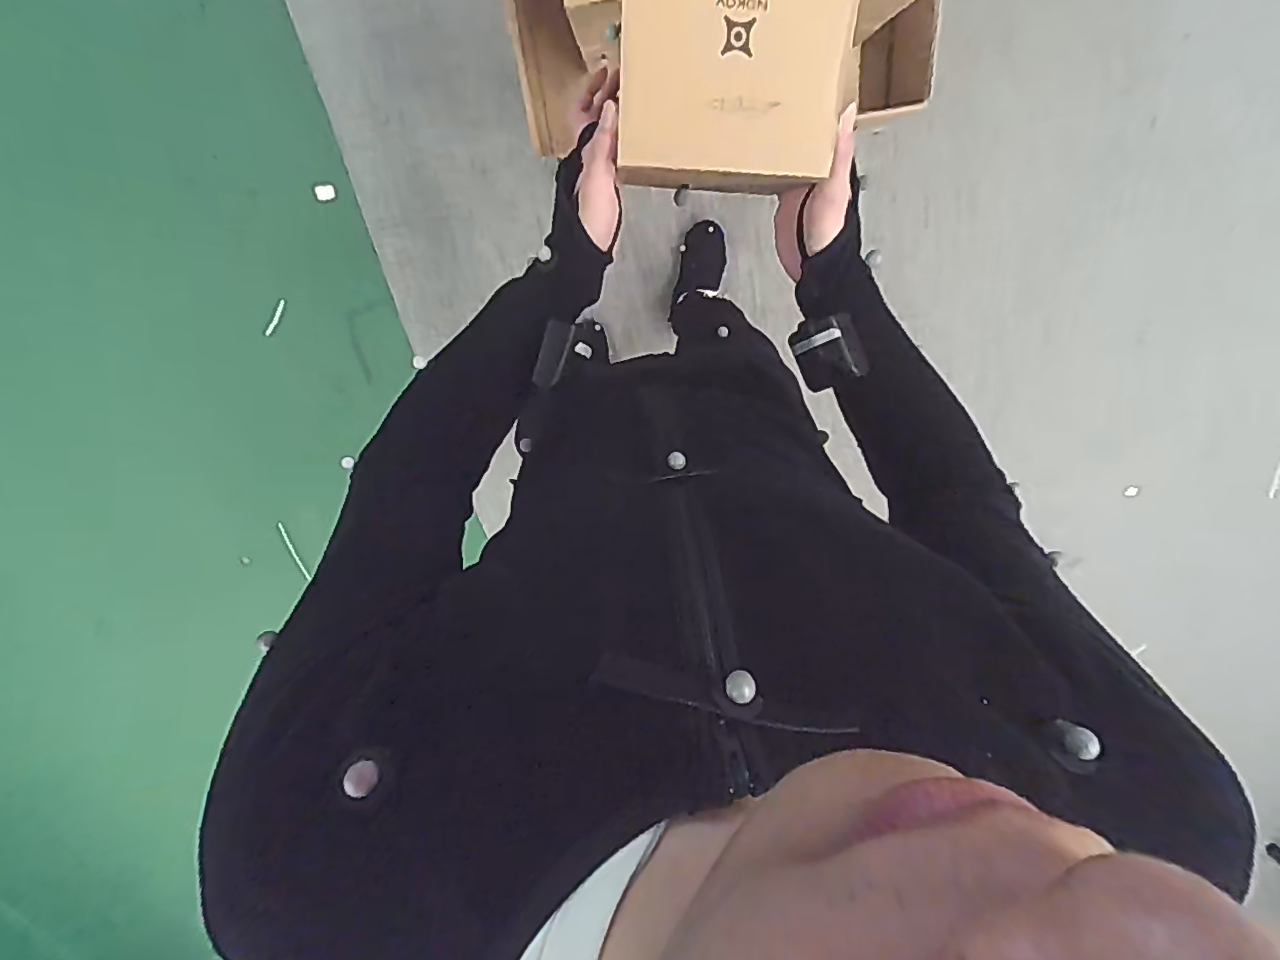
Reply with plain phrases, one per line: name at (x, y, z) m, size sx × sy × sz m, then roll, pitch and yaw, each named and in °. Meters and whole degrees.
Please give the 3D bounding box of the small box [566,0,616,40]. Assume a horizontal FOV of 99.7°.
small box at (-0.017, -0.659, 0.635) m, size 0.168 × 0.176 × 0.179 m, roll -6°, pitch 116°, yaw 4°

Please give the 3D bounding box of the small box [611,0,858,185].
small box at (0.062, -0.350, 0.437) m, size 0.168 × 0.176 × 0.179 m, roll 2°, pitch 114°, yaw -3°
